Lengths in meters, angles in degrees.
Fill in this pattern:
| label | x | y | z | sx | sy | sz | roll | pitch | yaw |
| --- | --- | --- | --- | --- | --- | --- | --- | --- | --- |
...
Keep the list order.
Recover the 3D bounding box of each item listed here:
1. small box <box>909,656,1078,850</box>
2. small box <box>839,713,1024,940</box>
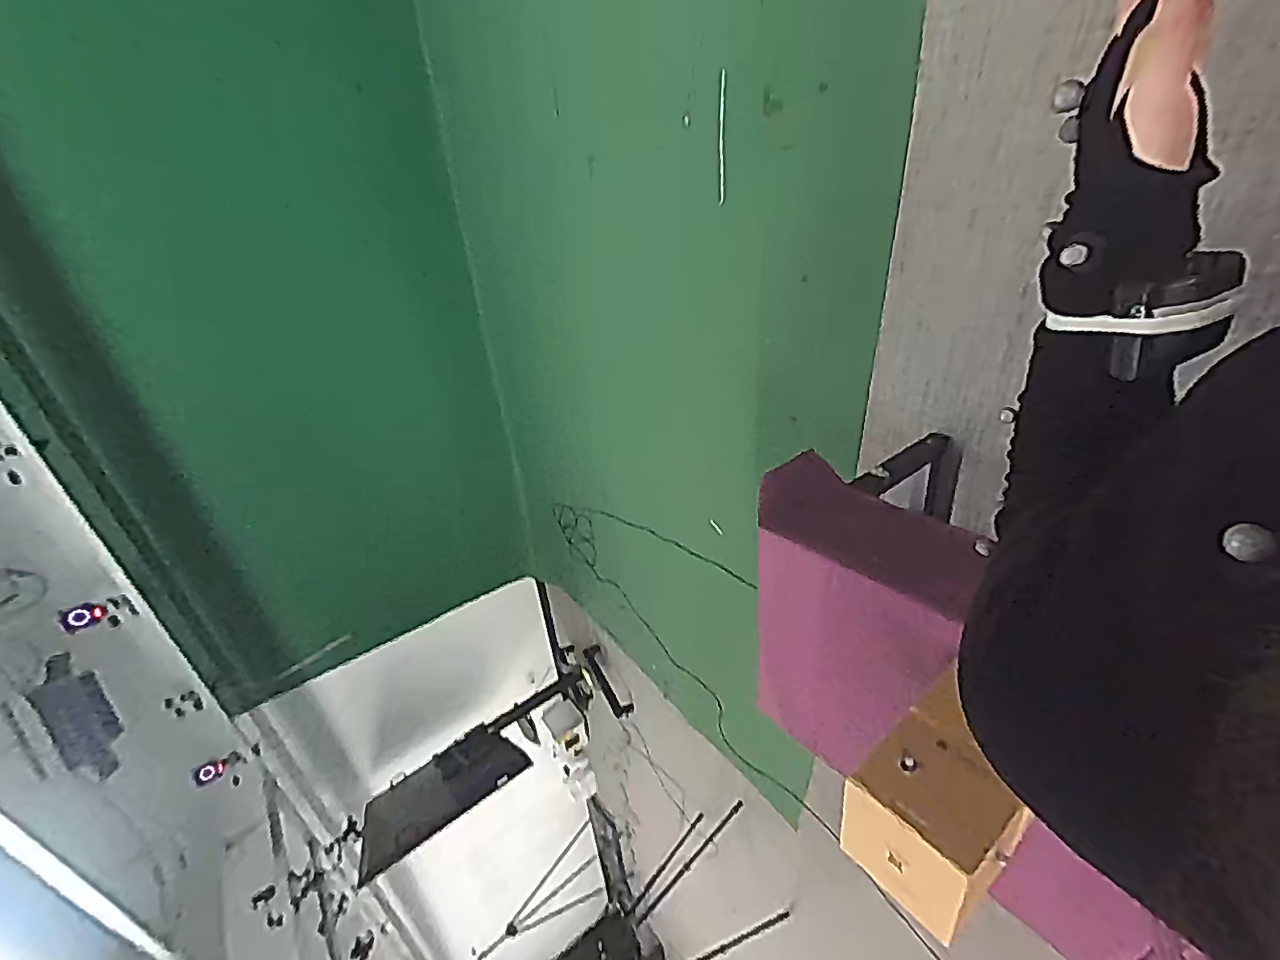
| label | x | y | z | sx | sy | sz | roll | pitch | yaw |
| --- | --- | --- | --- | --- | --- | --- | --- | --- | --- |
| small box | 0.538 | 0.411 | 0.846 | 0.179 | 0.176 | 0.168 | 29 | 134 | 45 |
| small box | 0.409 | 0.476 | 0.768 | 0.168 | 0.176 | 0.179 | 28 | 134 | 47 |
